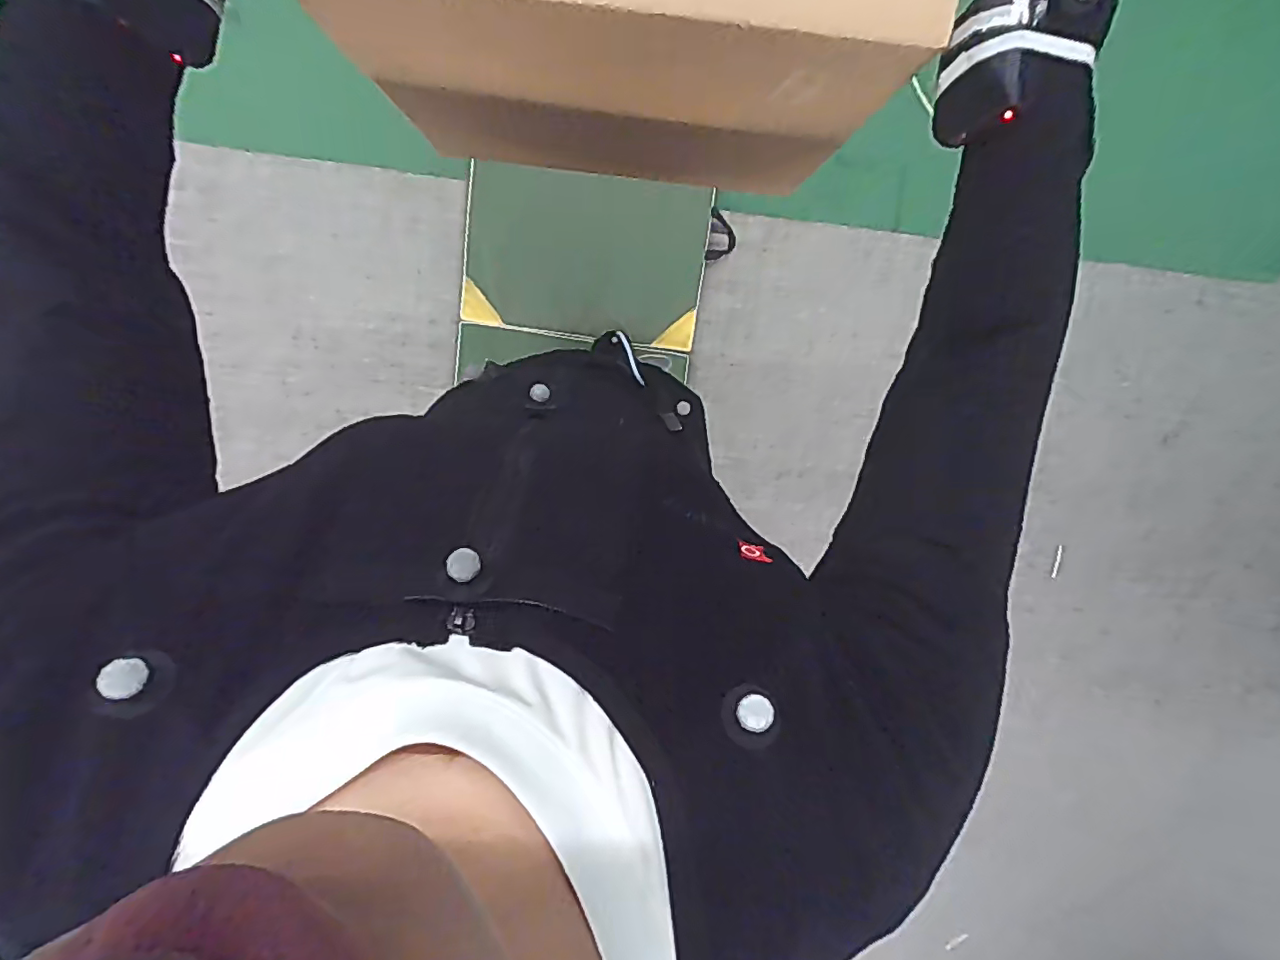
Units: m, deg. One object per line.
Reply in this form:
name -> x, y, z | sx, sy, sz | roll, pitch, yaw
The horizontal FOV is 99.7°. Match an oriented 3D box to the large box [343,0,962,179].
large box -> 0.004, -0.471, 0.438 | 0.408, 0.320, 0.320 | 4, 104, -4
